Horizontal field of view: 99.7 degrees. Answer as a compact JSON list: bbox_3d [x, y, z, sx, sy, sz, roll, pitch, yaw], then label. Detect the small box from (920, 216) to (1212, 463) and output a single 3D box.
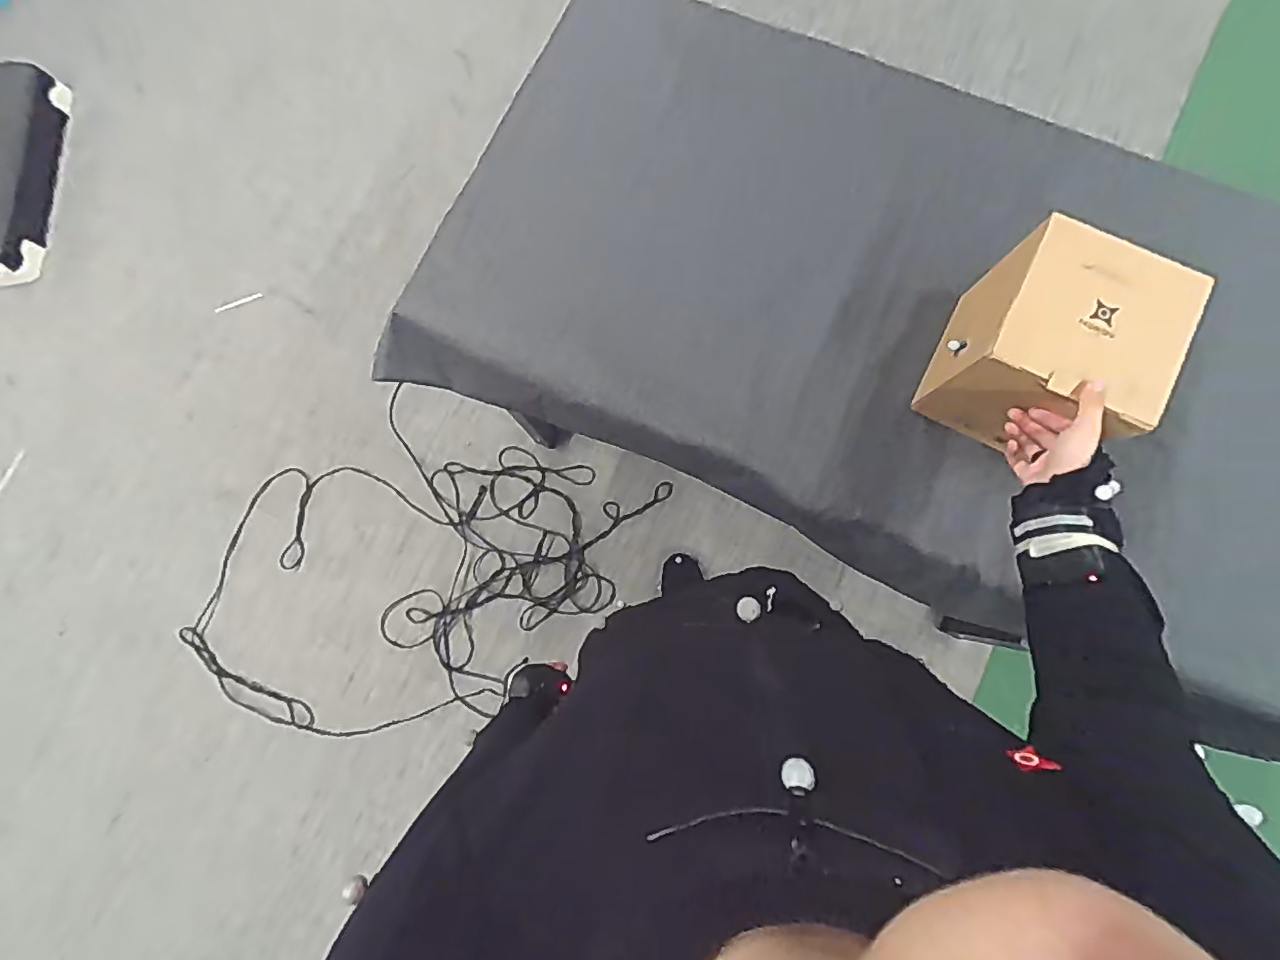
[{"bbox_3d":[0.445,-0.138,0.597,0.168,0.176,0.179,27,80,6],"label":"small box"}]
